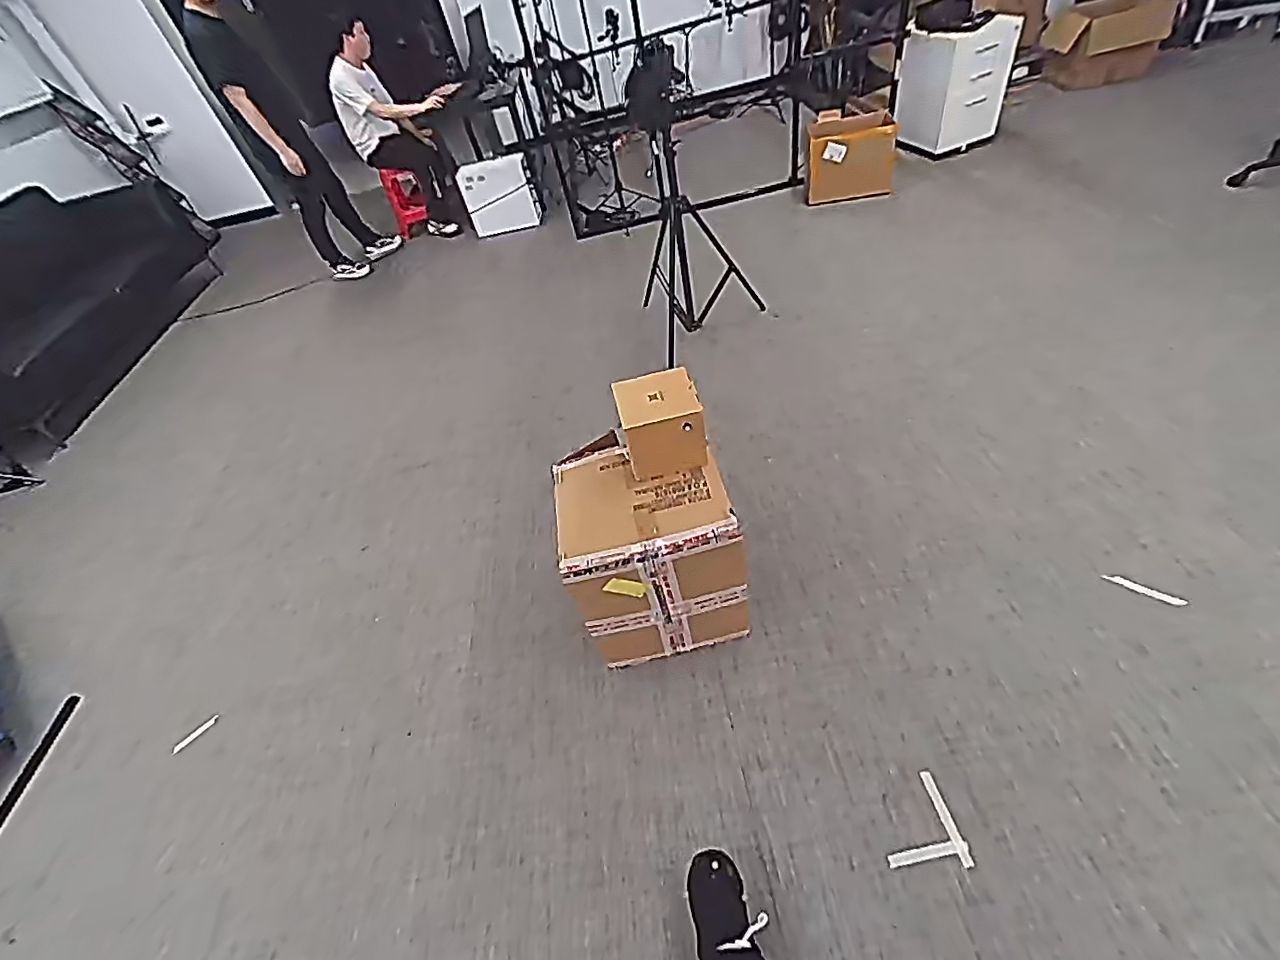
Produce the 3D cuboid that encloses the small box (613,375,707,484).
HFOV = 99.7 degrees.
[{"bbox_3d":[0.048,-0.112,1.246,0.179,0.176,0.168,-14,47,-2],"label":"small box"}]
